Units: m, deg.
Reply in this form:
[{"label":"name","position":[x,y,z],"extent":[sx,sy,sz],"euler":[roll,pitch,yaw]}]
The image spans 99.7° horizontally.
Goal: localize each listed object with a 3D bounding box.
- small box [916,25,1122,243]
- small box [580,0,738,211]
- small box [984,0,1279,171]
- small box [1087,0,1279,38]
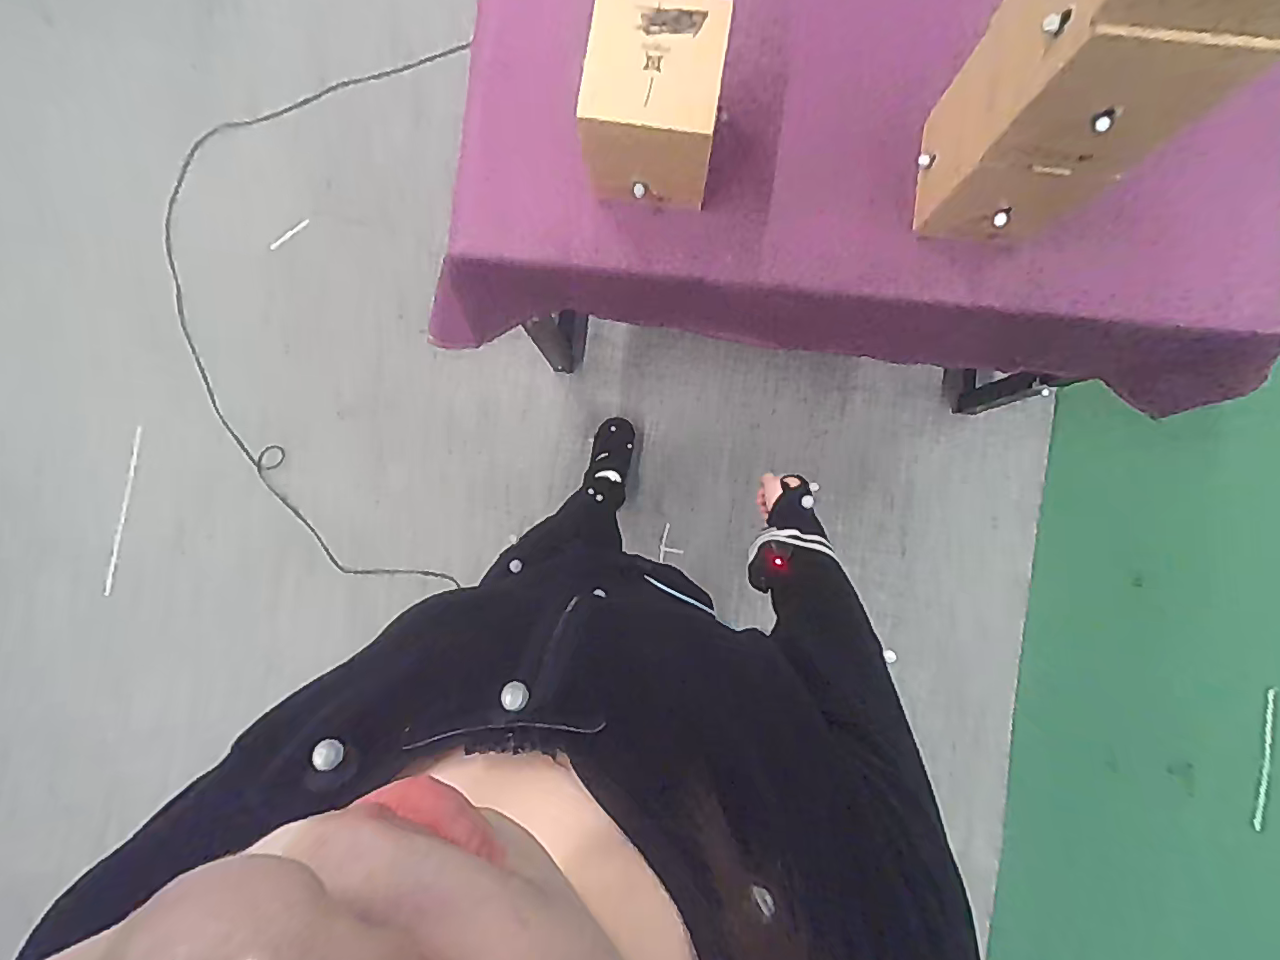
[{"label":"small box","position":[0.485,-0.436,0.706],"extent":[0.168,0.176,0.179],"euler":[8,88,1]},{"label":"small box","position":[0.023,-0.495,0.717],"extent":[0.168,0.176,0.179],"euler":[9,88,2]},{"label":"small box","position":[0.478,-0.445,0.541],"extent":[0.168,0.176,0.179],"euler":[7,87,1]},{"label":"small box","position":[0.472,-0.459,0.378],"extent":[0.179,0.176,0.168],"euler":[7,86,2]}]
